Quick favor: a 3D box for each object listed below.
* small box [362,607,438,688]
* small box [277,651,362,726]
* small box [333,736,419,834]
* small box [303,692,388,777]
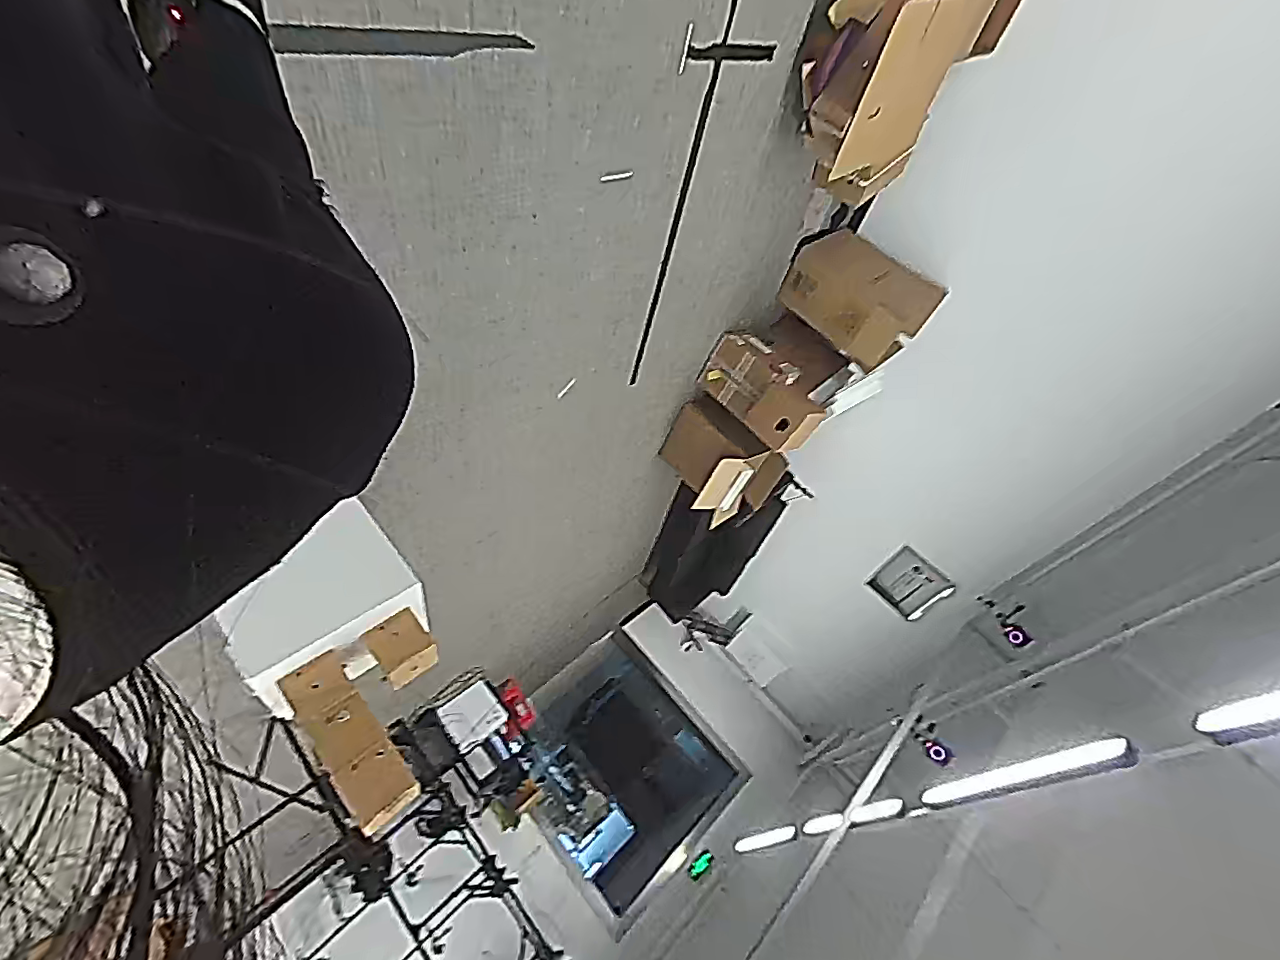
[{"bbox_3d":[-0.808,0.561,1.826,0.168,0.176,0.179,-33,156,-32],"label":"small box"},{"bbox_3d":[-0.982,0.656,1.665,0.168,0.176,0.179,-33,156,-36],"label":"small box"},{"bbox_3d":[-0.761,0.876,1.563,0.168,0.176,0.179,-32,158,-38],"label":"small box"},{"bbox_3d":[-0.873,0.769,1.619,0.168,0.176,0.179,-33,157,-36],"label":"small box"}]
